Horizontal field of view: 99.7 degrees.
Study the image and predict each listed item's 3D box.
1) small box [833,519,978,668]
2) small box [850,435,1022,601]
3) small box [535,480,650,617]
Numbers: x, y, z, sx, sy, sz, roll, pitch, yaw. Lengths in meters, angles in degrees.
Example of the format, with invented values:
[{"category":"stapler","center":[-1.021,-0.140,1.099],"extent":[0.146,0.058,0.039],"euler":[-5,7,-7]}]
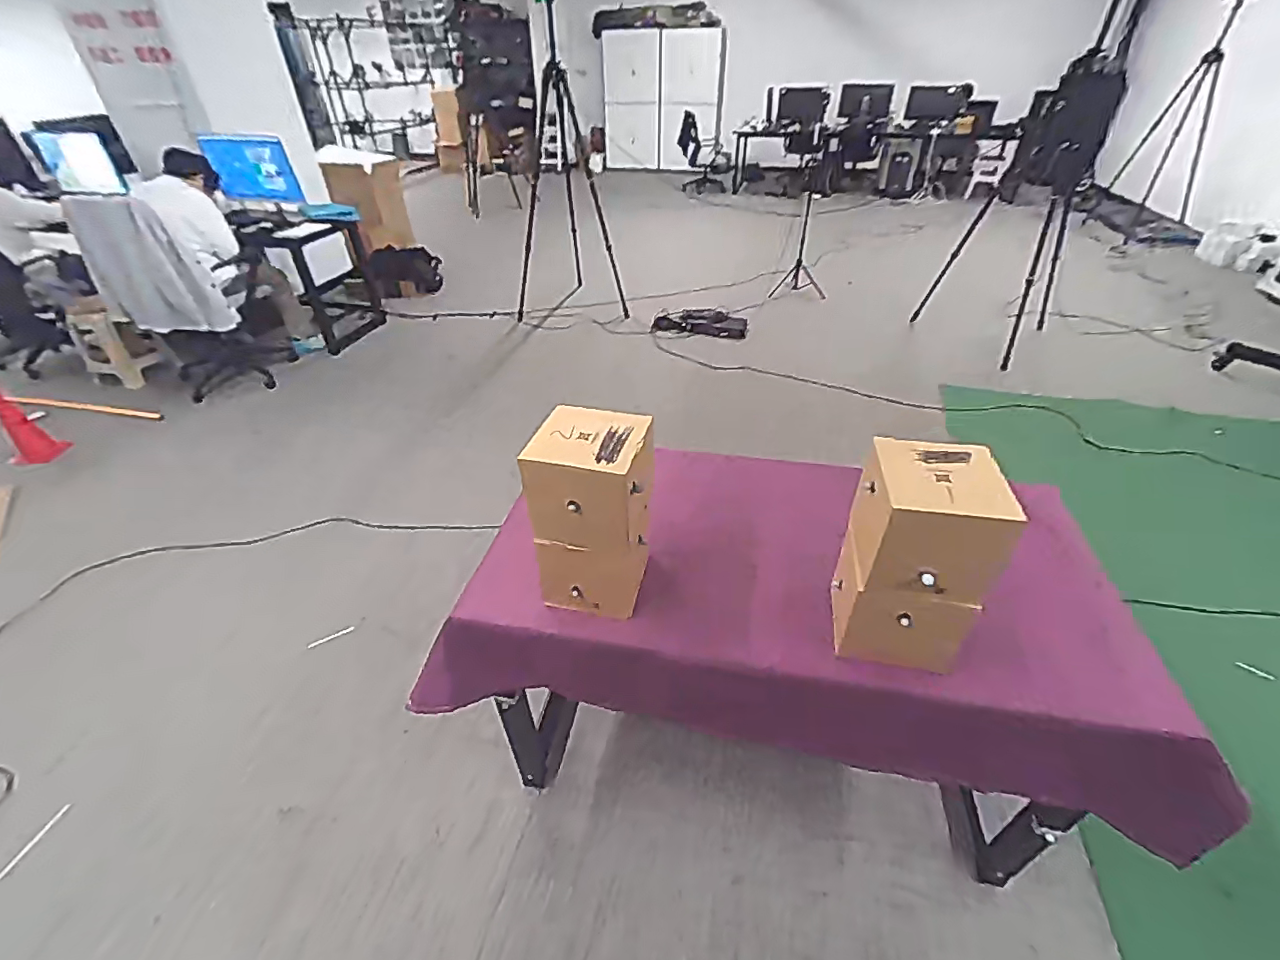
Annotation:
[{"category":"small box","center":[0.427,0.190,0.907],"extent":[0.179,0.176,0.168],"euler":[7,39,11]},{"category":"small box","center":[0.425,0.054,0.813],"extent":[0.168,0.176,0.179],"euler":[5,39,10]},{"category":"small box","center":[-0.081,0.125,1.010],"extent":[0.168,0.176,0.179],"euler":[7,39,11]}]
